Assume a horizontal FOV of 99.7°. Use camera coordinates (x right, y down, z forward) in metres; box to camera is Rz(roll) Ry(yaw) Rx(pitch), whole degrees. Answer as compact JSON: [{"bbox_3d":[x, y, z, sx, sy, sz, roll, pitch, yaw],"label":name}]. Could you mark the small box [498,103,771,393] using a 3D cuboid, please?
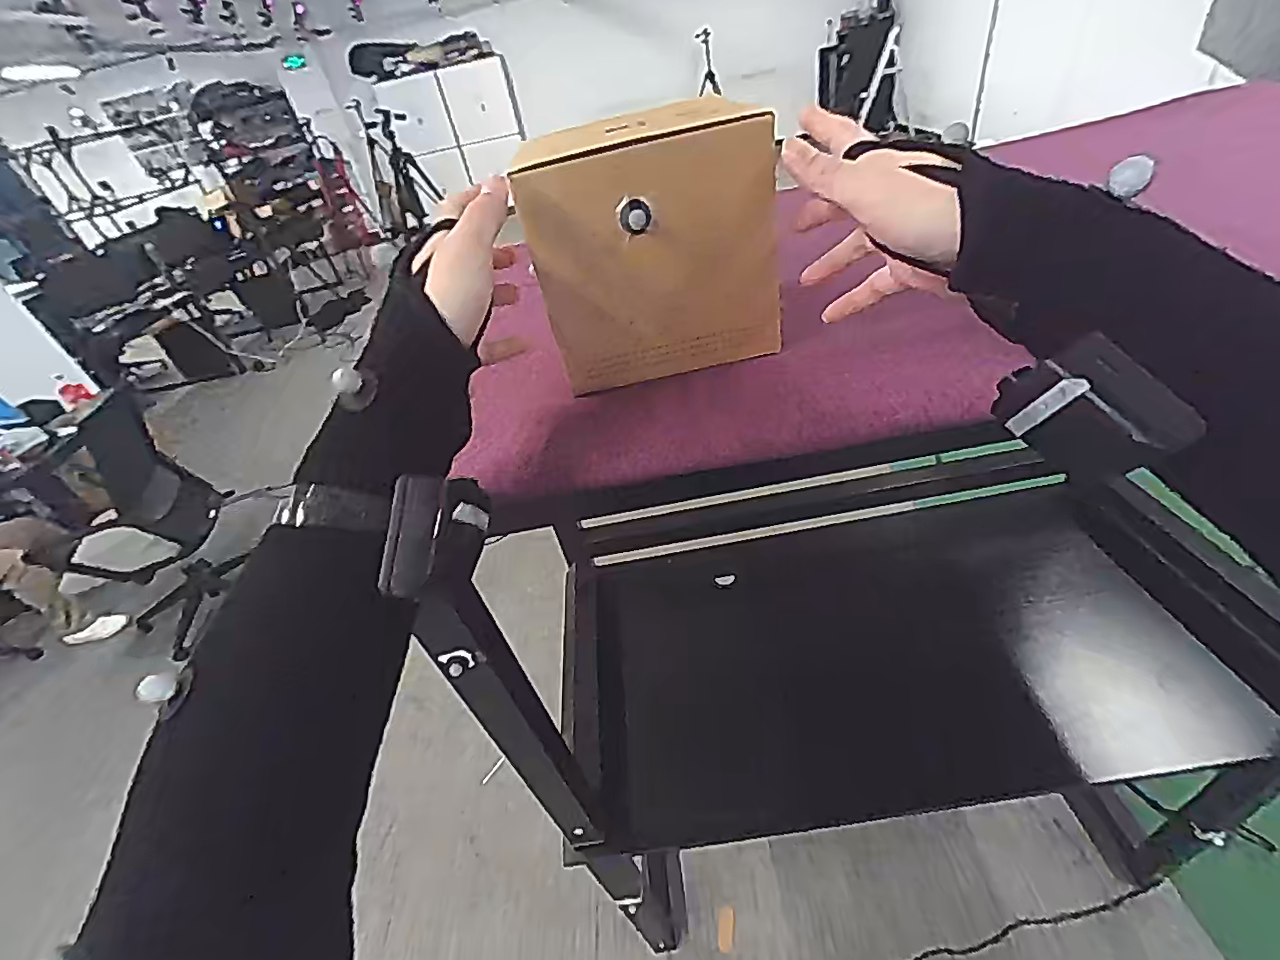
[{"bbox_3d":[0.001,-0.191,0.452,0.179,0.176,0.168,-12,39,2],"label":"small box"}]
